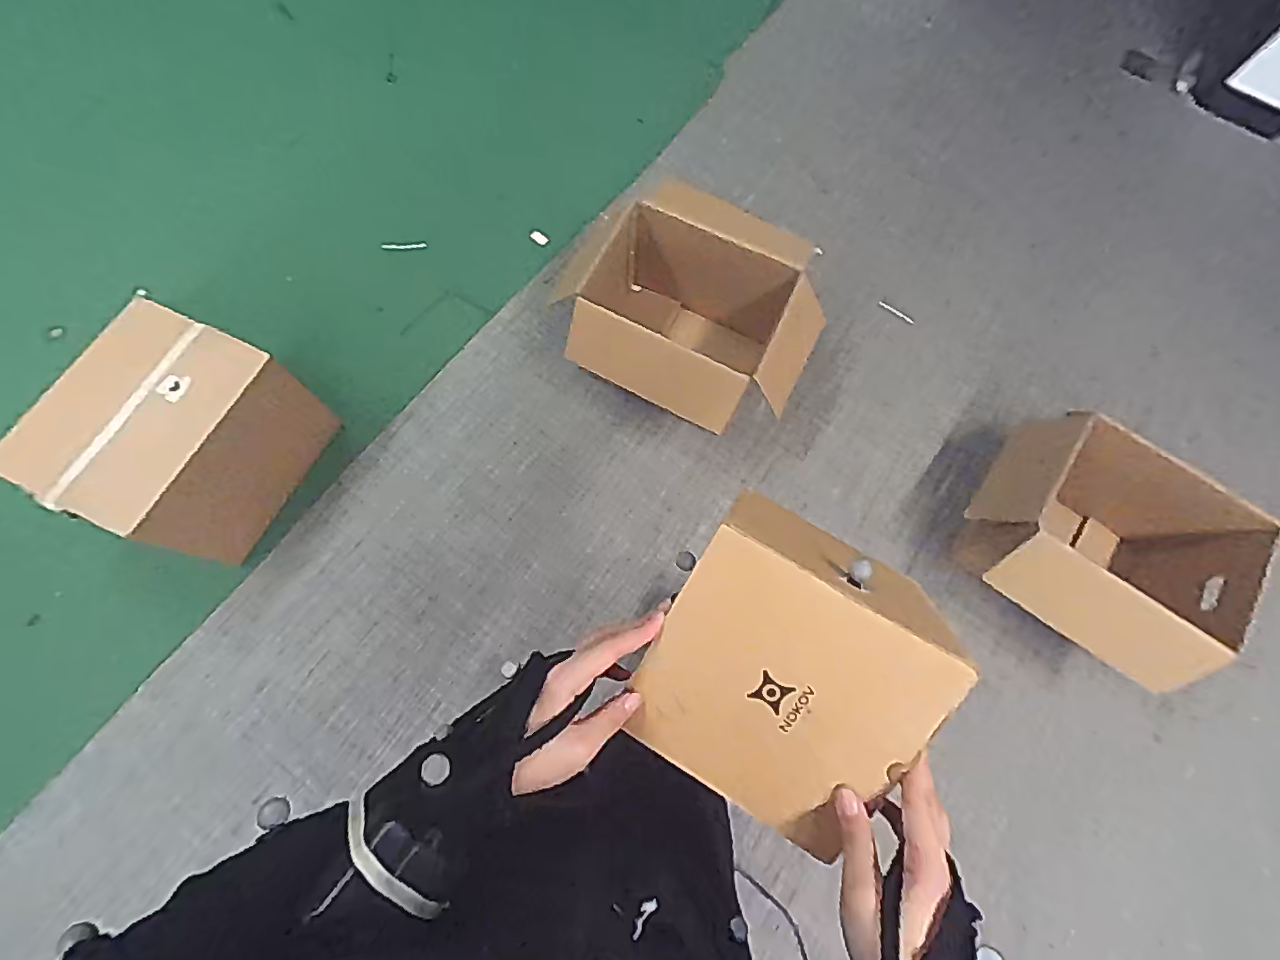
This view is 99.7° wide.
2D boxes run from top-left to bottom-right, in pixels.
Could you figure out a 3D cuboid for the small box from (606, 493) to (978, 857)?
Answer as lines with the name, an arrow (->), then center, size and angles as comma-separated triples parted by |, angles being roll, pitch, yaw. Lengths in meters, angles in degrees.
small box -> 0.104, 0.122, 0.419 | 0.179, 0.176, 0.168 | 30, 103, 9
